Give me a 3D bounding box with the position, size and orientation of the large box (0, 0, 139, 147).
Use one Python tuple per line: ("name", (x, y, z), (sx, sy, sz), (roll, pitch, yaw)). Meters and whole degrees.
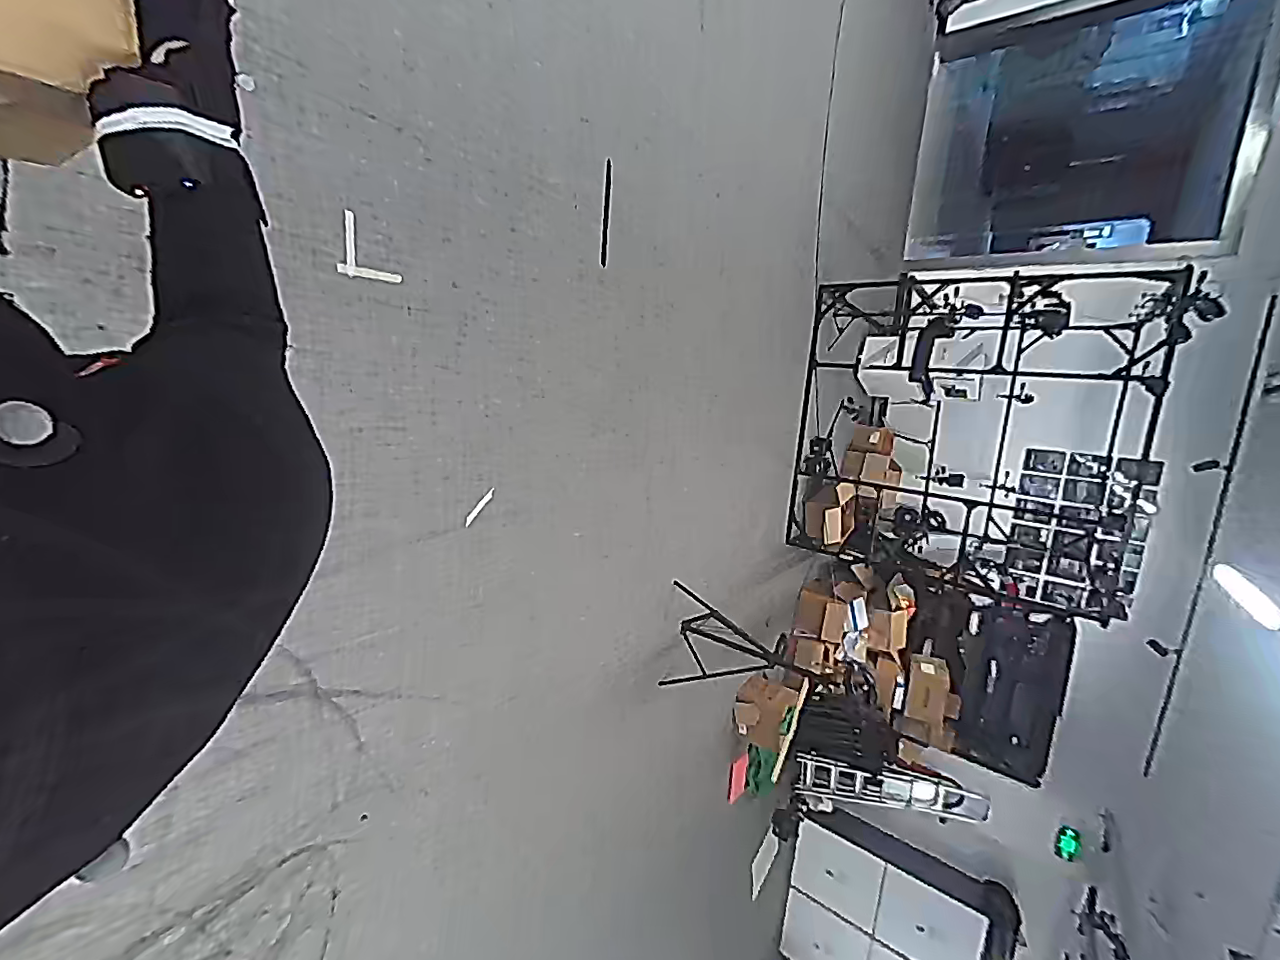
("large box", (-0.583, -0.421, 0.275), (0.408, 0.320, 0.320), (-14, 114, -53))
